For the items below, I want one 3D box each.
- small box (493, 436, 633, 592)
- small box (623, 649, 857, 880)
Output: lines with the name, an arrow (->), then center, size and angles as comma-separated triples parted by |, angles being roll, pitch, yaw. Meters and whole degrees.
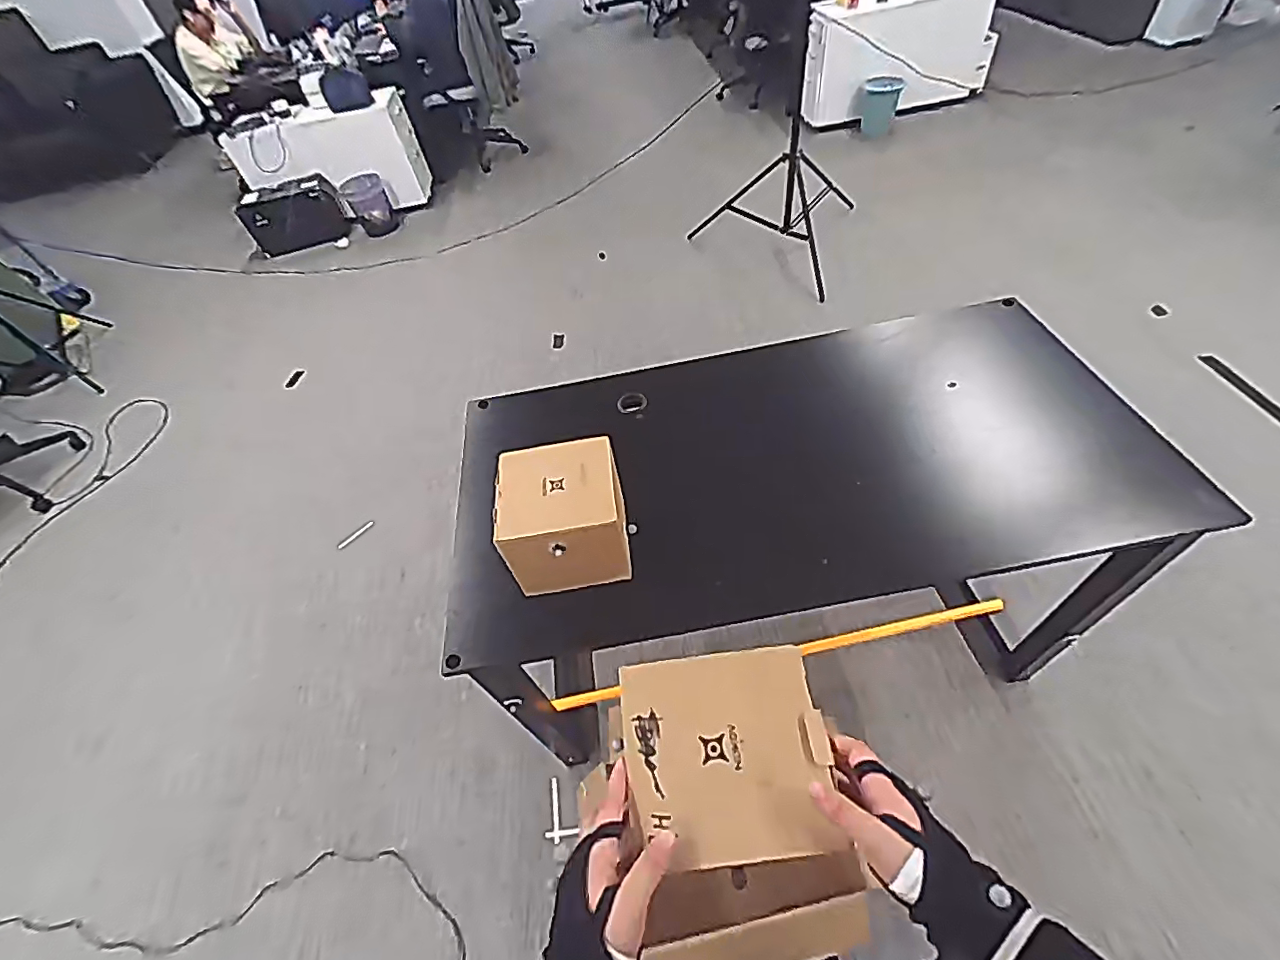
small box -> -0.115, 0.059, 0.846 | 0.179, 0.176, 0.168 | -10, 51, 0
small box -> 0.081, 0.279, 0.526 | 0.179, 0.176, 0.168 | -7, 53, 1
